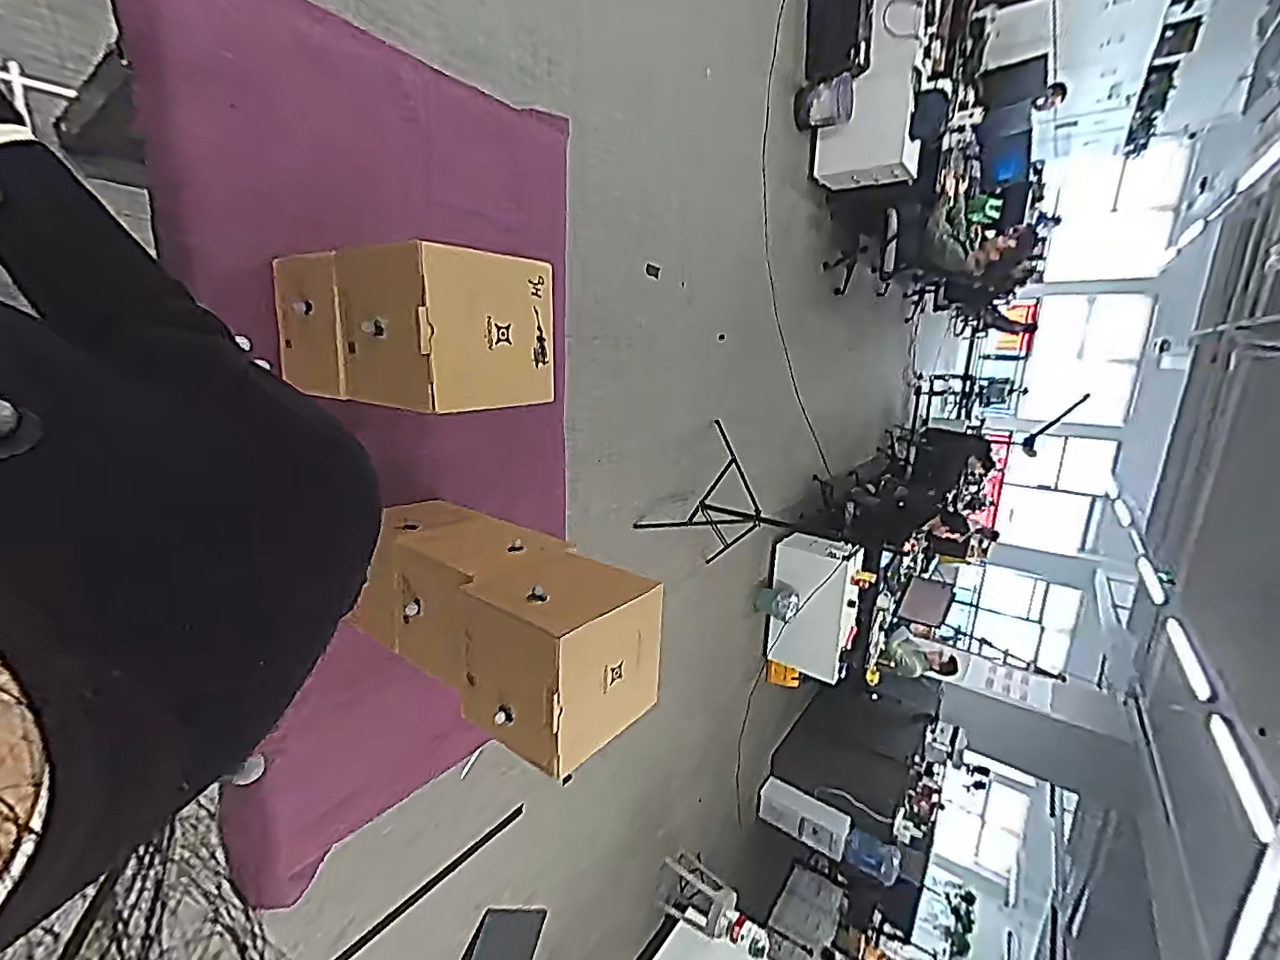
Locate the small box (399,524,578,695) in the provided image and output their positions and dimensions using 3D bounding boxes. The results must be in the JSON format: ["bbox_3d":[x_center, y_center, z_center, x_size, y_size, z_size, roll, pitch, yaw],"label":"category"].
[{"bbox_3d":[-0.209,0.167,0.754,0.179,0.176,0.168,-11,107,-53],"label":"small box"}]

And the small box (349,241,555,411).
[{"bbox_3d":[-0.222,-0.175,0.642,0.179,0.176,0.168,-17,114,-52],"label":"small box"}]

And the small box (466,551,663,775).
[{"bbox_3d":[-0.092,0.198,0.644,0.179,0.176,0.168,-16,113,-52],"label":"small box"}]

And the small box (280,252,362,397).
[{"bbox_3d":[-0.359,-0.198,0.730,0.179,0.176,0.168,-14,111,-54],"label":"small box"}]

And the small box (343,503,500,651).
[{"bbox_3d":[-0.343,0.138,0.845,0.179,0.176,0.168,-10,108,-54],"label":"small box"}]
